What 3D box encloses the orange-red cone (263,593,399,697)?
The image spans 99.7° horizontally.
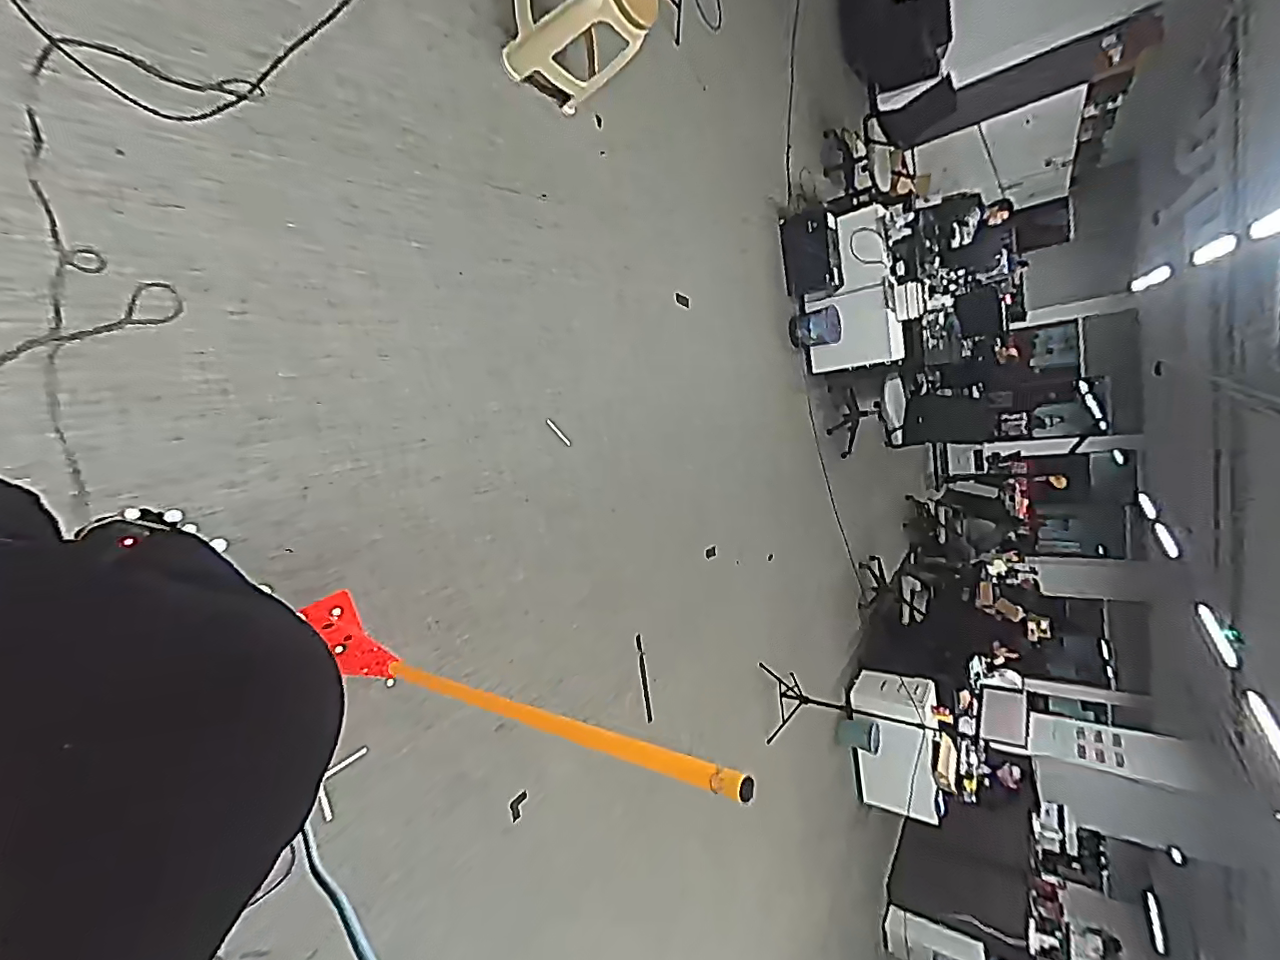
[{"bbox_3d":[-0.642,0.388,1.199,0.199,0.360,0.198,-26,108,-49],"label":"orange-red cone"}]
